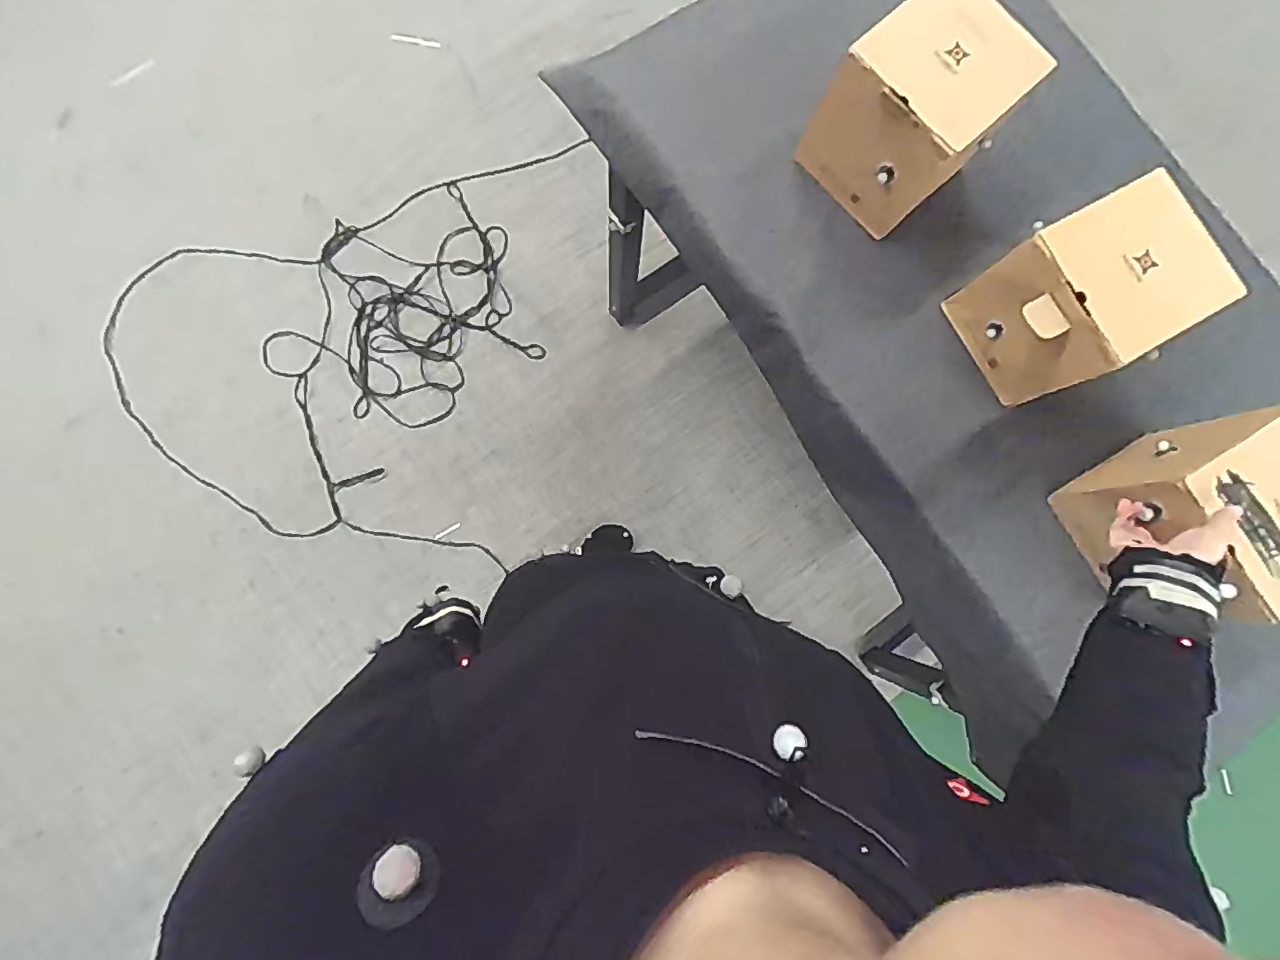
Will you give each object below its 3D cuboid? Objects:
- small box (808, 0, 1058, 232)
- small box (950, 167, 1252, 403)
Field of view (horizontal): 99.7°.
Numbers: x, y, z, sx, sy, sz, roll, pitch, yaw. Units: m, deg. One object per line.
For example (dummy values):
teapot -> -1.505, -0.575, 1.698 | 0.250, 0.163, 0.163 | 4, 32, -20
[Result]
small box -> 0.330, -0.445, 0.654 | 0.179, 0.176, 0.168 | -43, 88, -9
small box -> 0.519, -0.214, 0.636 | 0.179, 0.176, 0.168 | -29, 86, -7
